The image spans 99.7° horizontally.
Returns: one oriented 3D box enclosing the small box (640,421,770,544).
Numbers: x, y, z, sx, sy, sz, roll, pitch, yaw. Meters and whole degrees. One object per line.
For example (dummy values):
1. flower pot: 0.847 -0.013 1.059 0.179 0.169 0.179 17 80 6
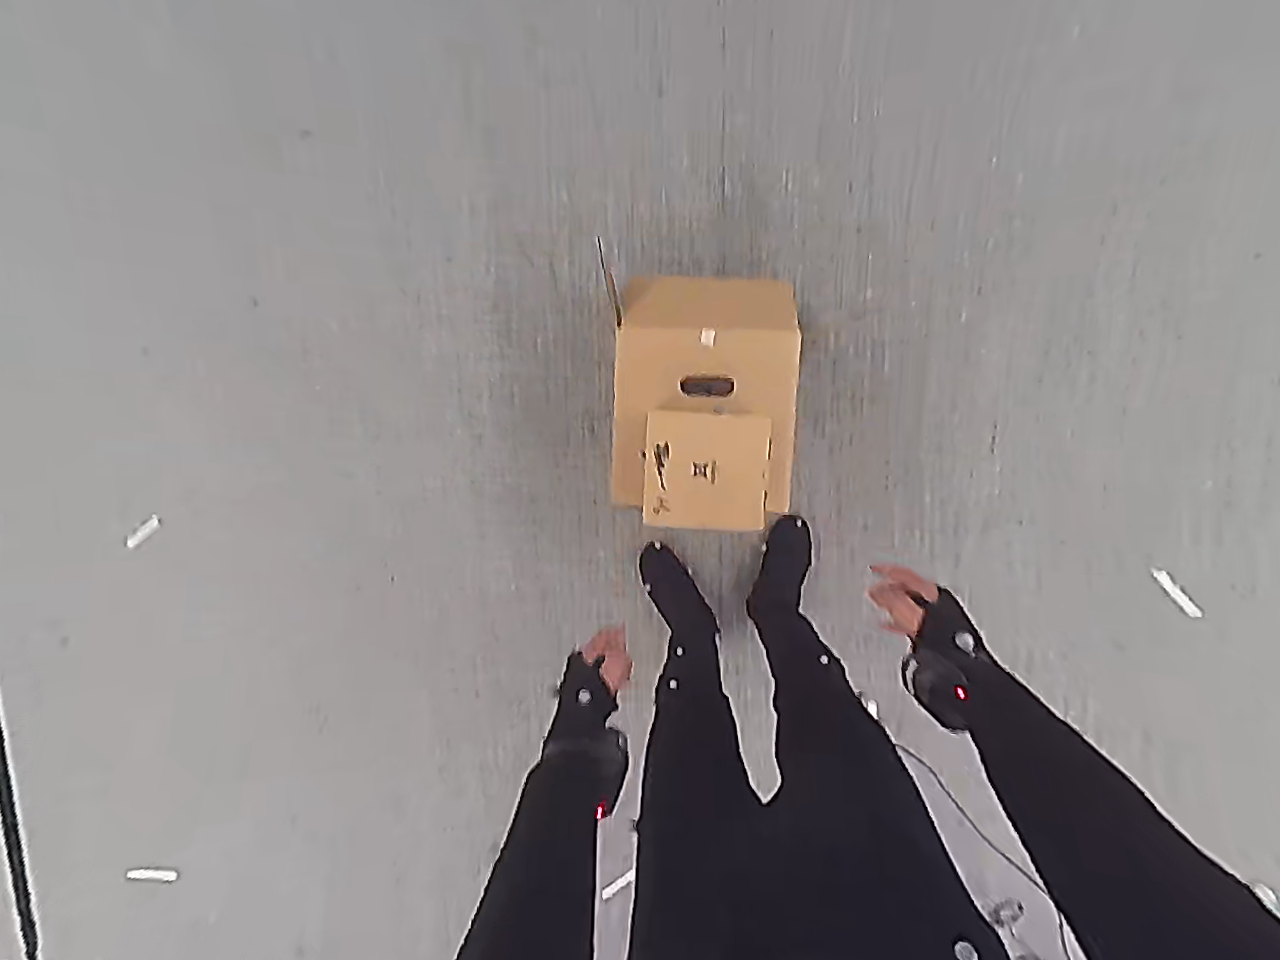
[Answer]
1. small box: 0.094 -0.005 0.851 0.179 0.176 0.168 3 98 2
